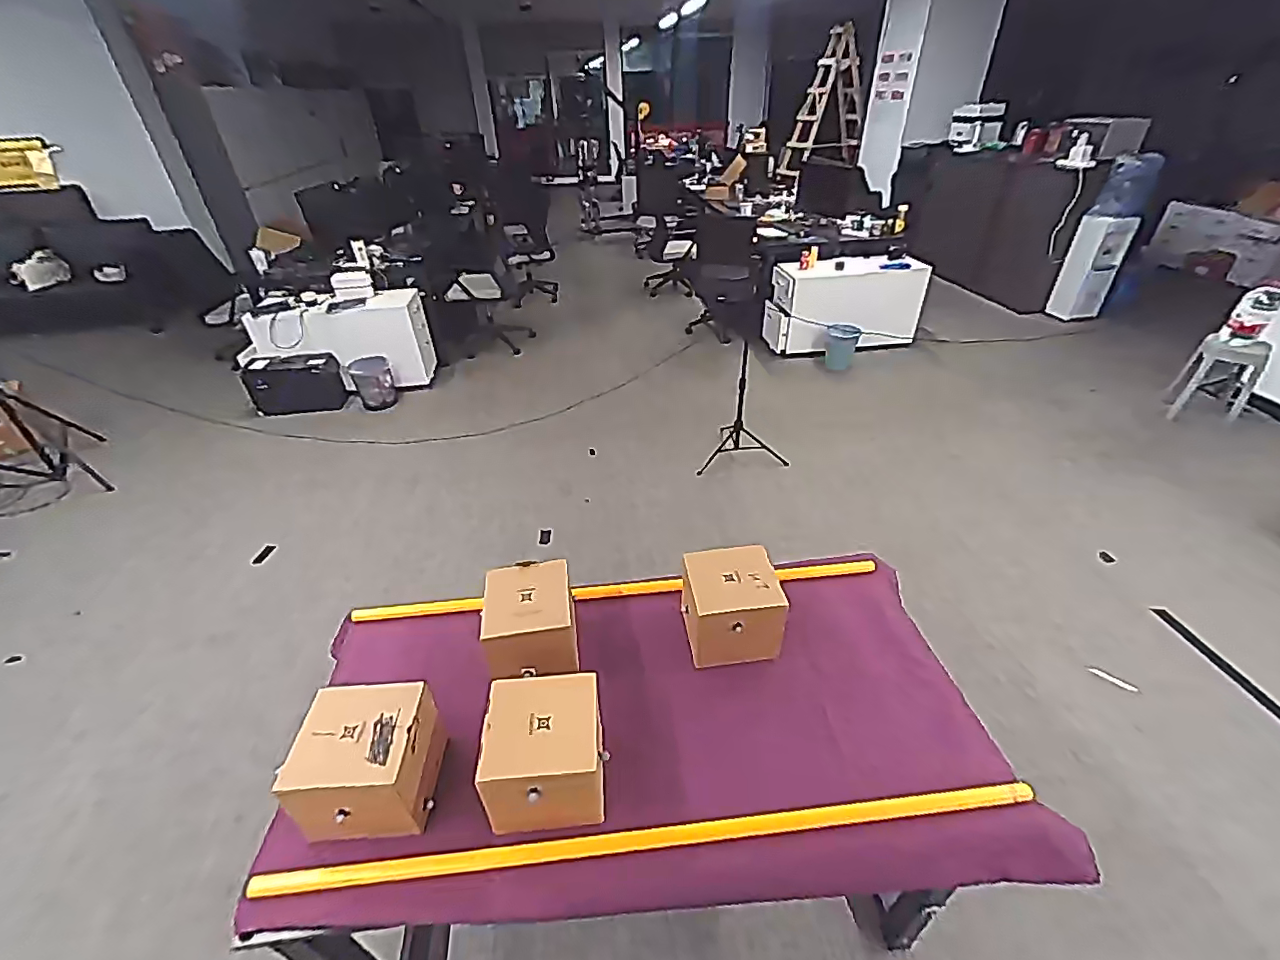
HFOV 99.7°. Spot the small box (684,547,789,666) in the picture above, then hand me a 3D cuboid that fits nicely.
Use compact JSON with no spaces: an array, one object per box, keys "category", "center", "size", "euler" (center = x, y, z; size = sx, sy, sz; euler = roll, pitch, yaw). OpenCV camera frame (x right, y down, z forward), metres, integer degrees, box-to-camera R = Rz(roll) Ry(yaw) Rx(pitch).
[{"category":"small box","center":[0.188,0.262,1.109],"size":[0.179,0.176,0.168],"euler":[-5,37,-4]}]

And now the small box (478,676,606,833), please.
[{"category":"small box","center":[-0.145,0.443,0.876],"size":[0.179,0.176,0.168],"euler":[-4,35,-2]}]

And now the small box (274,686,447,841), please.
[{"category":"small box","center":[-0.428,0.454,0.869],"size":[0.179,0.176,0.168],"euler":[-3,35,-1]}]

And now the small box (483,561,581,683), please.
[{"category":"small box","center":[-0.212,0.292,1.090],"size":[0.168,0.176,0.179],"euler":[-7,37,-6]}]
